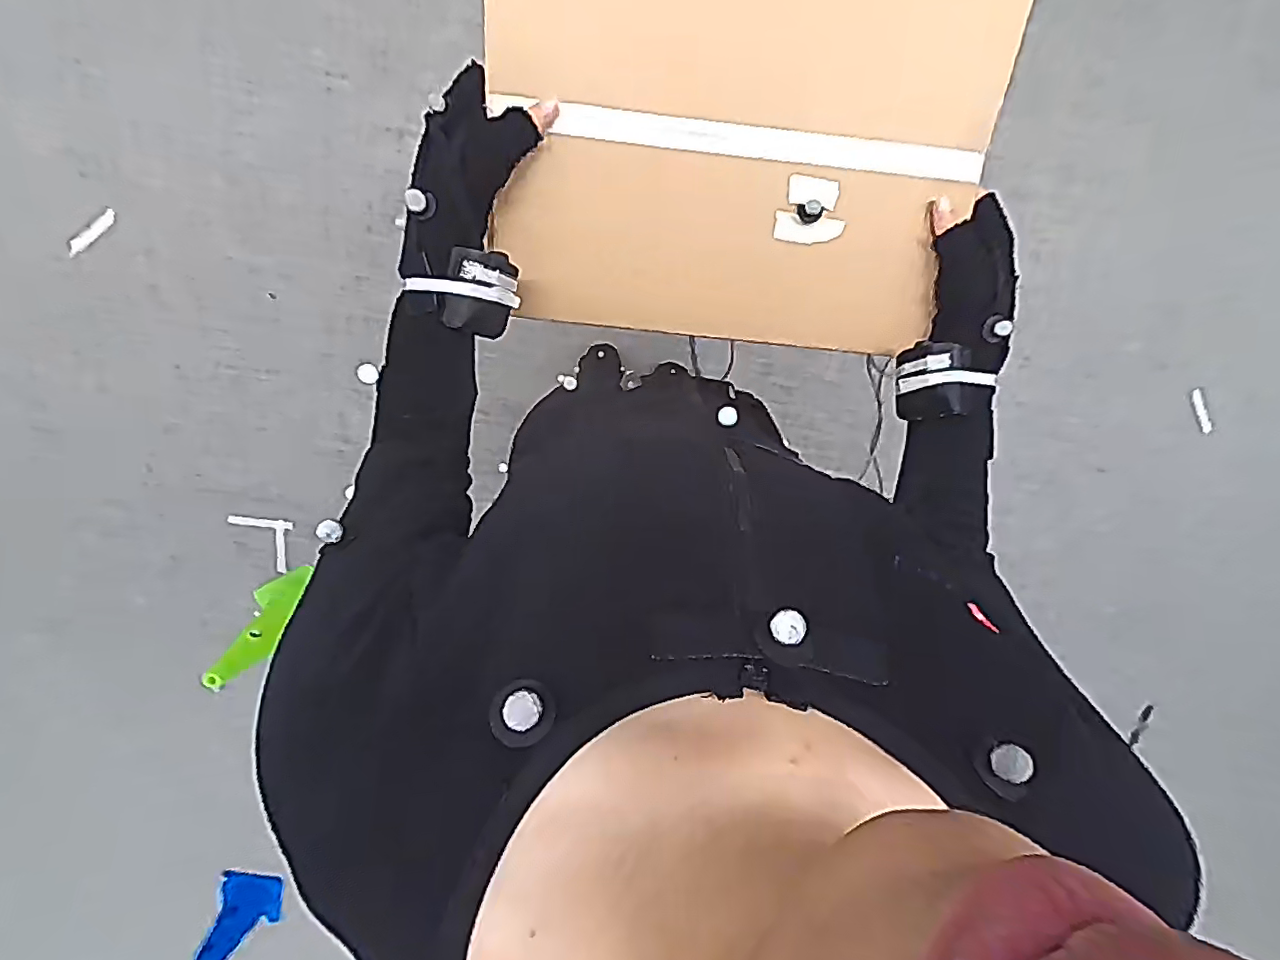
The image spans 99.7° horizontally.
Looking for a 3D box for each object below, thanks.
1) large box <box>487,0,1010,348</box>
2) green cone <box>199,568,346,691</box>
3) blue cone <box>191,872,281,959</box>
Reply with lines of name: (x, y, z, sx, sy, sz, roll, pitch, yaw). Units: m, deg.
large box: (0.071, -0.335, 0.582, 0.408, 0.320, 0.320, 4, 113, -4)
green cone: (-0.975, 0.412, 1.394, 0.202, 0.368, 0.200, -27, 103, 7)
blue cone: (-1.313, 1.455, 1.674, 0.192, 0.380, 0.193, 12, 104, -4)
